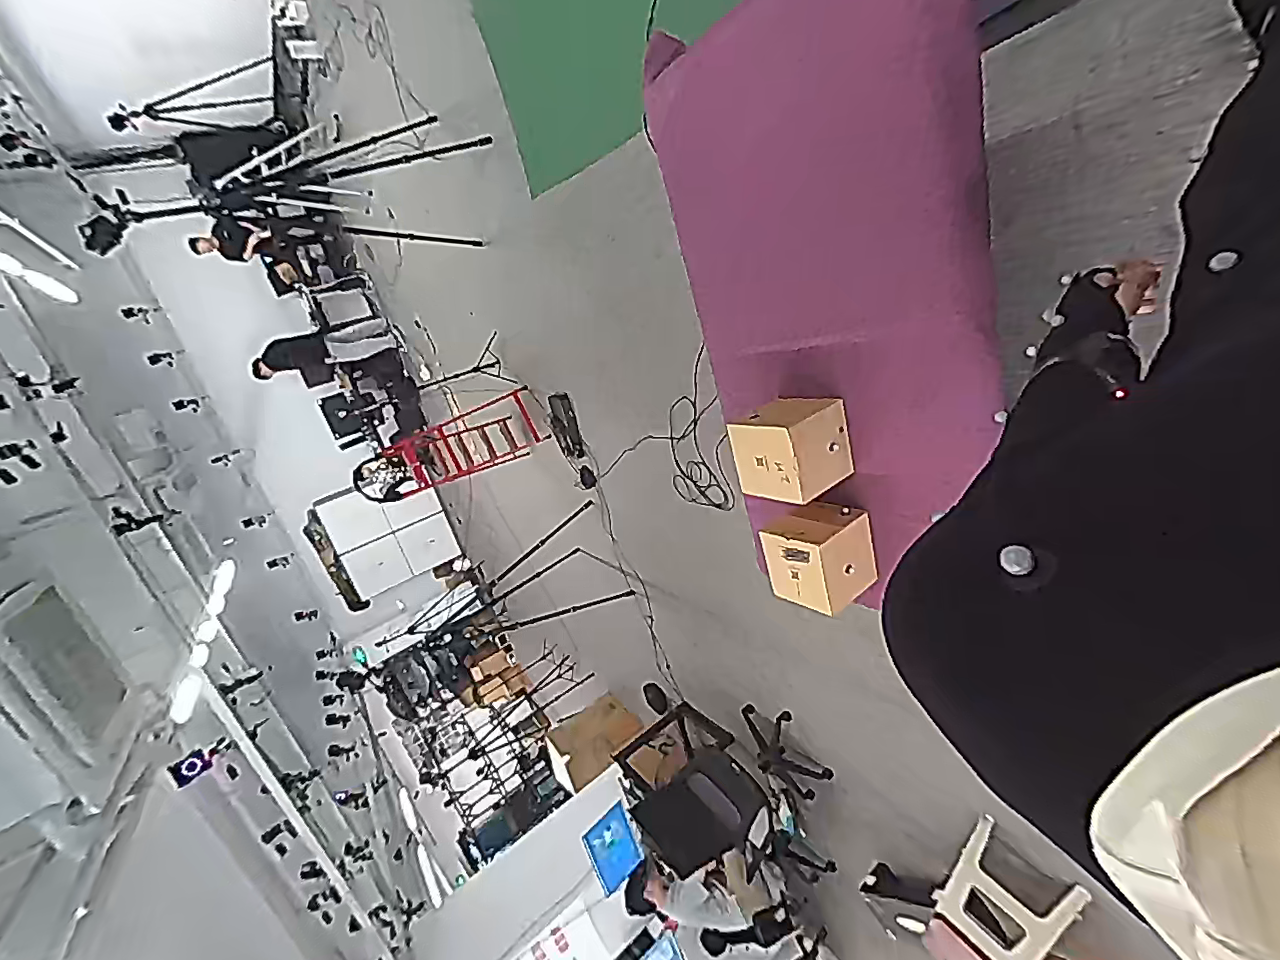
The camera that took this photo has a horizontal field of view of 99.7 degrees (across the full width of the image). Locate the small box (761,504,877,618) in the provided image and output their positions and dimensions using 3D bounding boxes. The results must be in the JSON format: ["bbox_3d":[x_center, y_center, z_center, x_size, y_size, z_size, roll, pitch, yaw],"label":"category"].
[{"bbox_3d":[0.402,0.170,1.206,0.168,0.176,0.179,12,124,56],"label":"small box"}]

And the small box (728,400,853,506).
[{"bbox_3d":[0.319,-0.064,1.145,0.179,0.176,0.168,12,124,55],"label":"small box"}]
